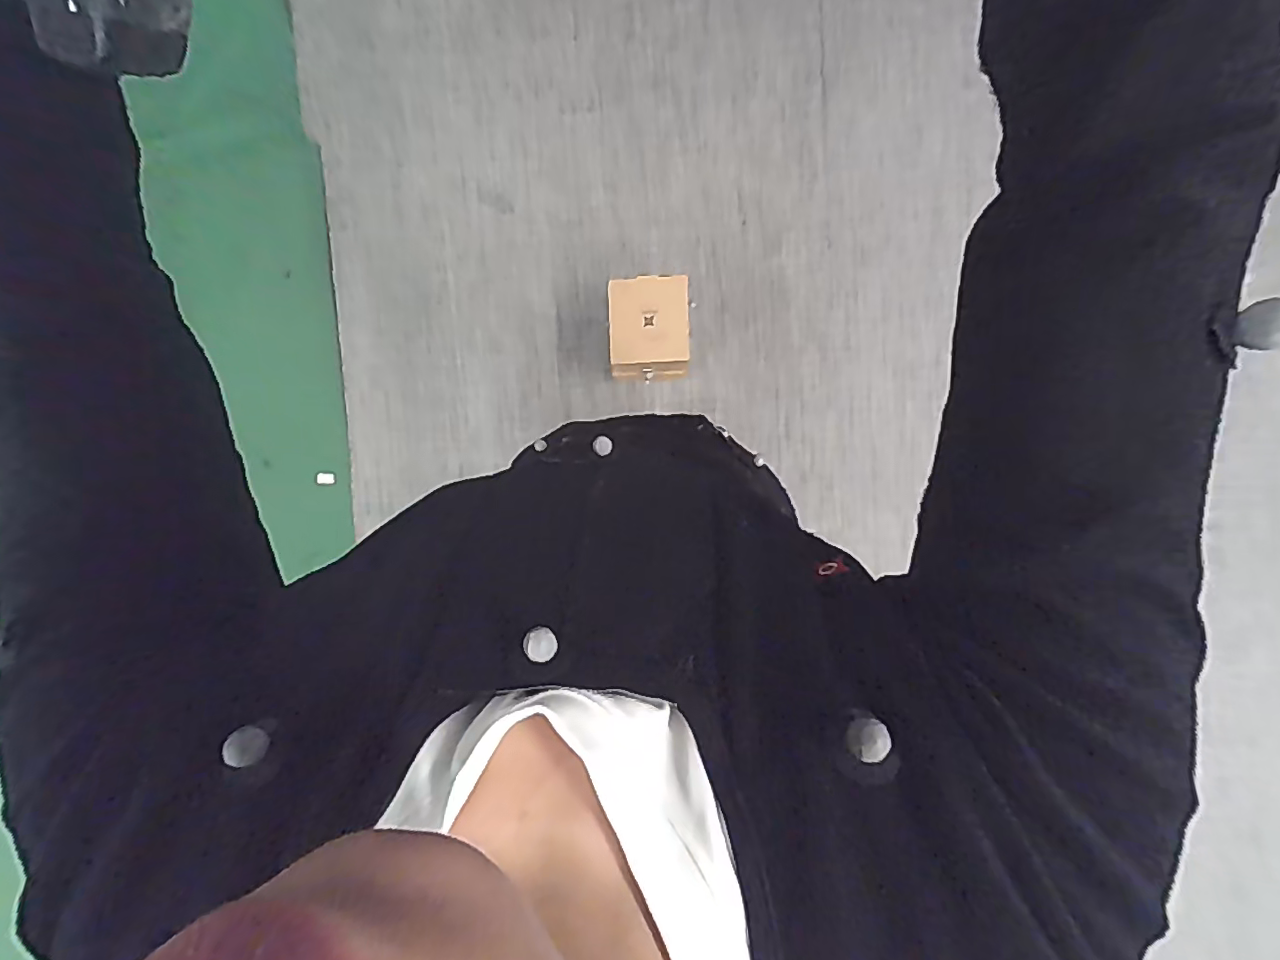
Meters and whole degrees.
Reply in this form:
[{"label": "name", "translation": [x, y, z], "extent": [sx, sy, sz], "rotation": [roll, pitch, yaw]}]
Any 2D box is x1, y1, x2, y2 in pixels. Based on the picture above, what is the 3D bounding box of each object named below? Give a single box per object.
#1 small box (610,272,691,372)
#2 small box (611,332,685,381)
[{"label": "small box", "translation": [0.027, -0.341, 1.195], "extent": [0.168, 0.176, 0.179], "rotation": [-2, 94, 6]}, {"label": "small box", "translation": [0.024, -0.342, 1.357], "extent": [0.179, 0.176, 0.168], "rotation": [-1, 93, 5]}]
